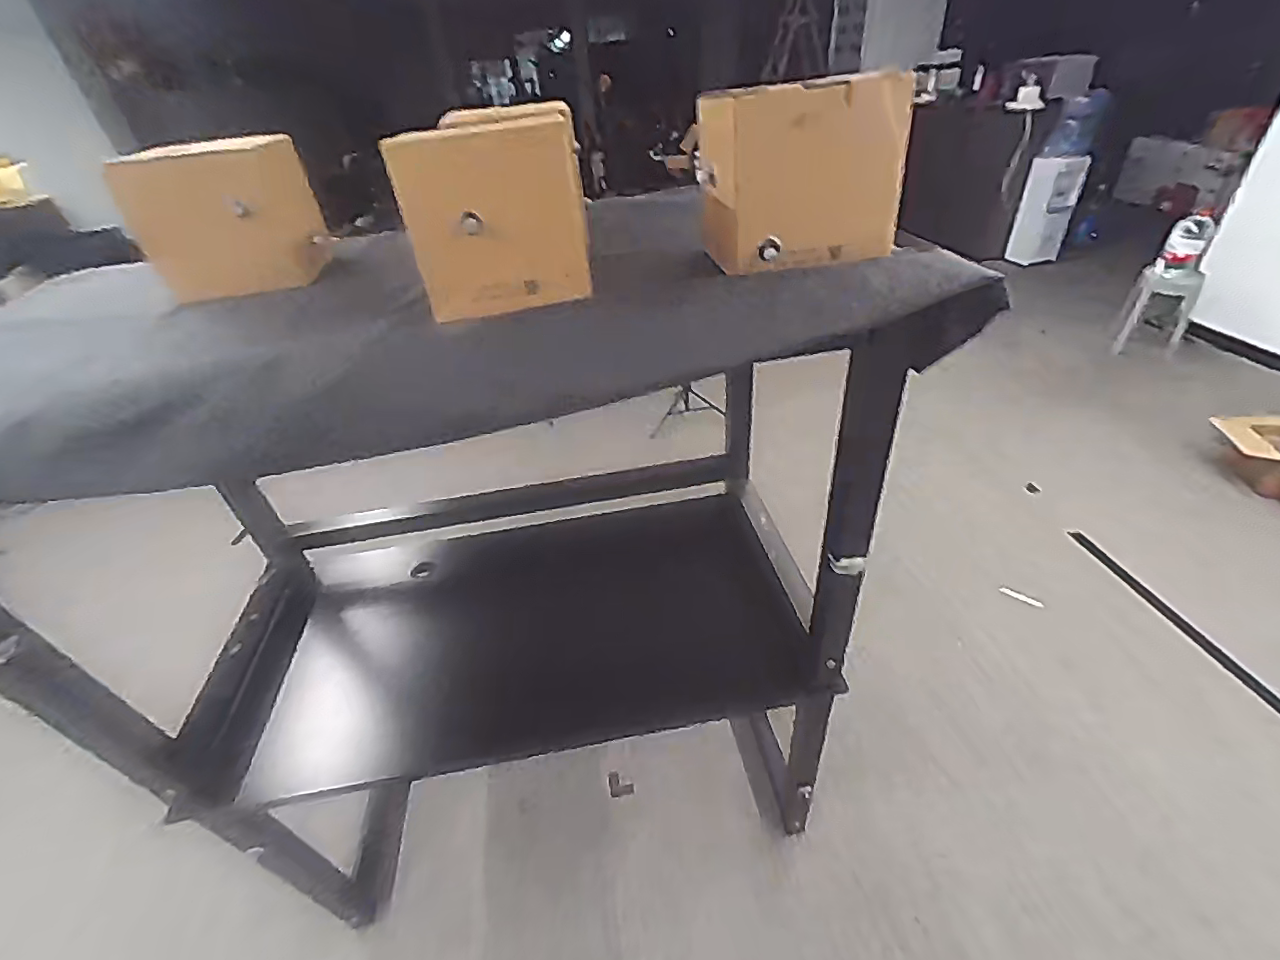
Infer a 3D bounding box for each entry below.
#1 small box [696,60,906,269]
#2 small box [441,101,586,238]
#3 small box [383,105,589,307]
[{"bbox_3d":[0.161,-0.338,0.595,0.168,0.176,0.179,-8,34,-2],"label":"small box"},{"bbox_3d":[-0.177,-0.450,0.800,0.168,0.176,0.179,-10,36,-4],"label":"small box"},{"bbox_3d":[-0.153,-0.299,0.596,0.168,0.176,0.179,-10,35,-4],"label":"small box"}]
